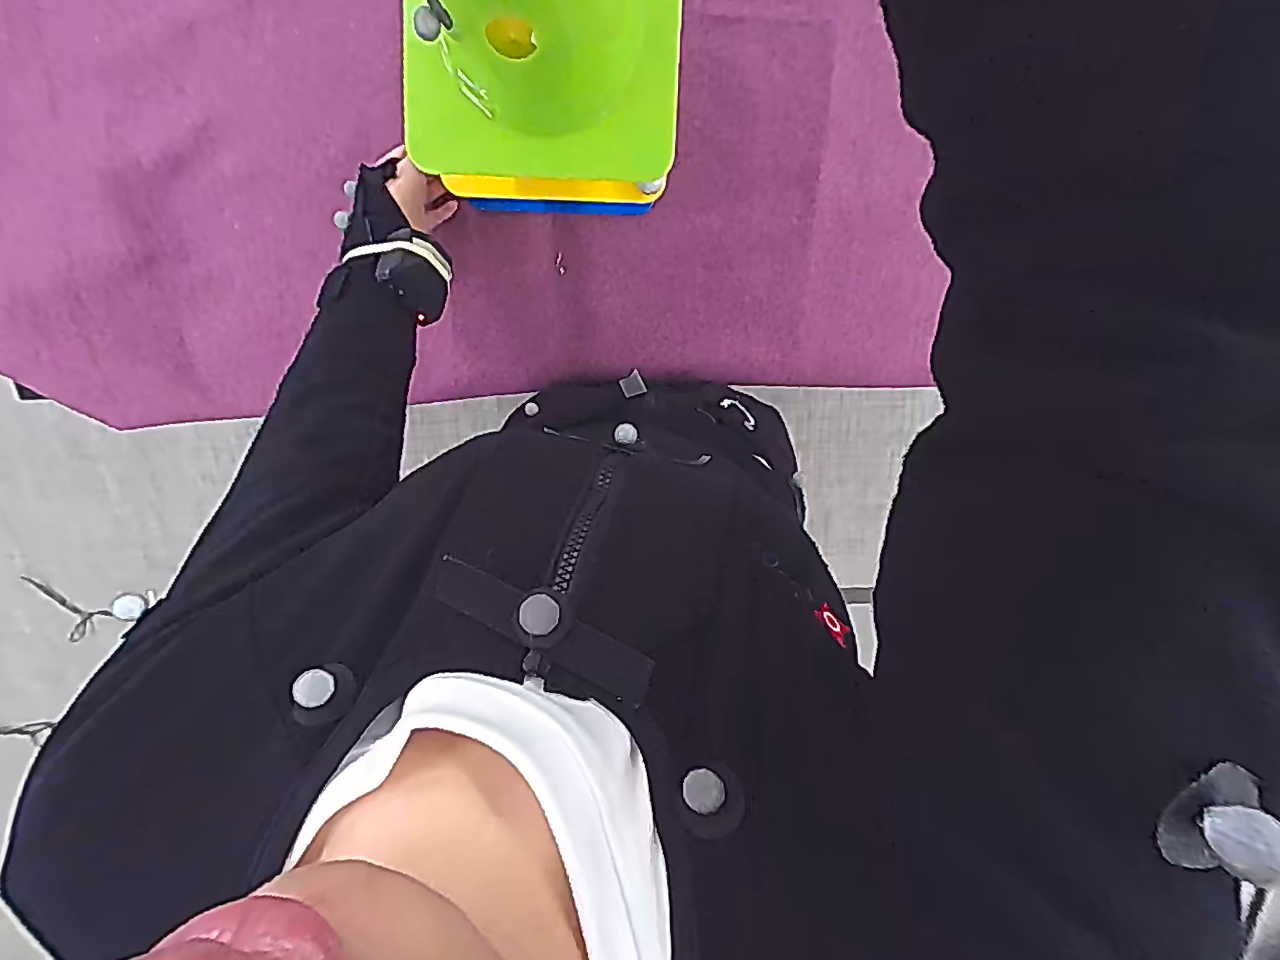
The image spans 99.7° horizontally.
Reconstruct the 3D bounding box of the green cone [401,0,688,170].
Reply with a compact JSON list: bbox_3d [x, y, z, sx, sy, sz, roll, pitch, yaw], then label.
[{"bbox_3d":[-0.071,-0.299,0.207,0.200,0.368,0.202,2,99,1],"label":"green cone"}]
